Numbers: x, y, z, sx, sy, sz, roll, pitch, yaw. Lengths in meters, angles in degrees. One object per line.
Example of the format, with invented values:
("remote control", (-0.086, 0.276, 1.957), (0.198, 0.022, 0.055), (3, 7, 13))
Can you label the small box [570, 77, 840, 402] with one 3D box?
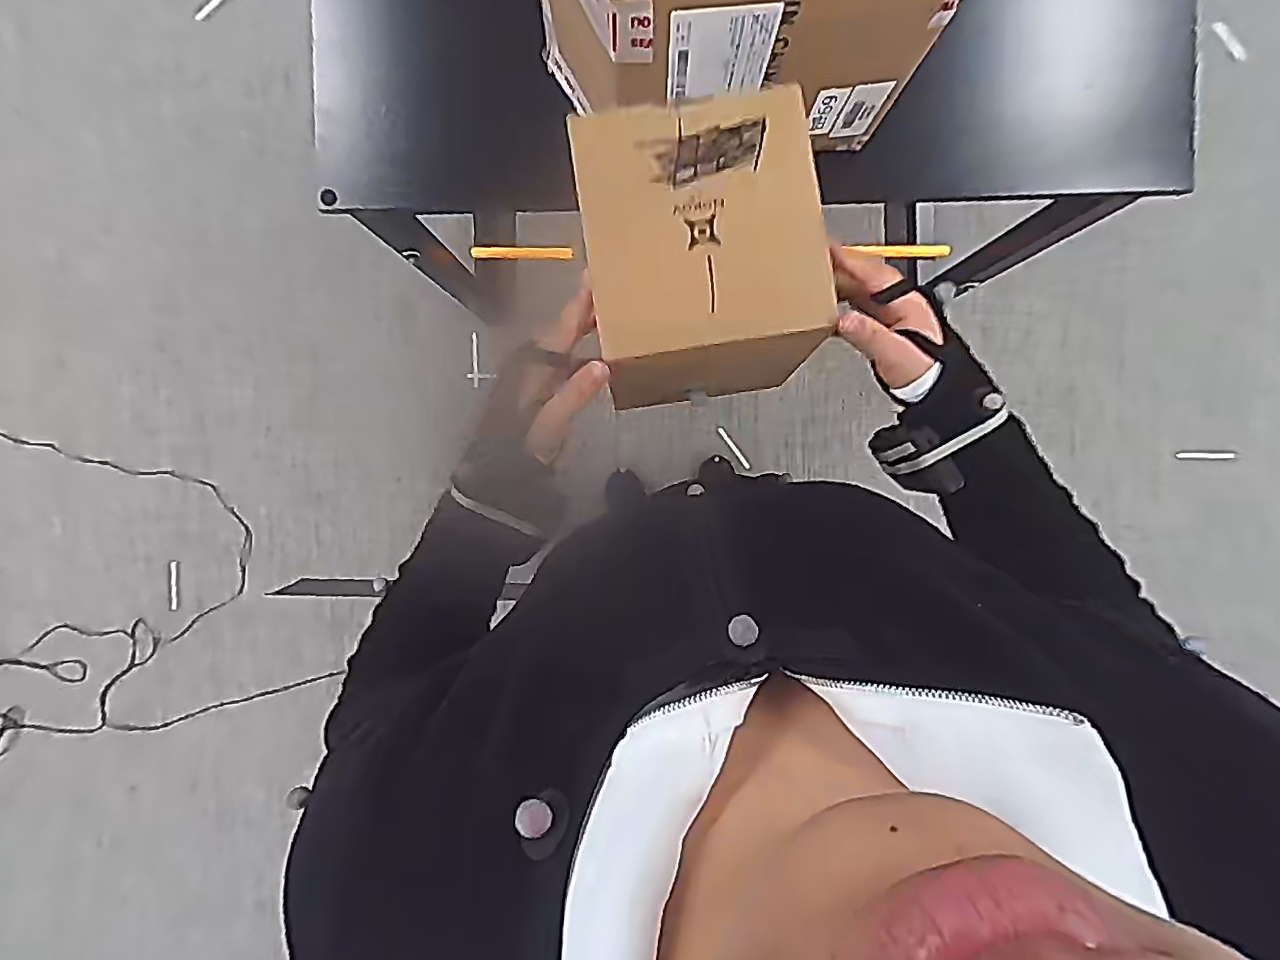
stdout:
("small box", (0.041, -0.175, 0.442), (0.168, 0.176, 0.179), (-8, 86, 0))
